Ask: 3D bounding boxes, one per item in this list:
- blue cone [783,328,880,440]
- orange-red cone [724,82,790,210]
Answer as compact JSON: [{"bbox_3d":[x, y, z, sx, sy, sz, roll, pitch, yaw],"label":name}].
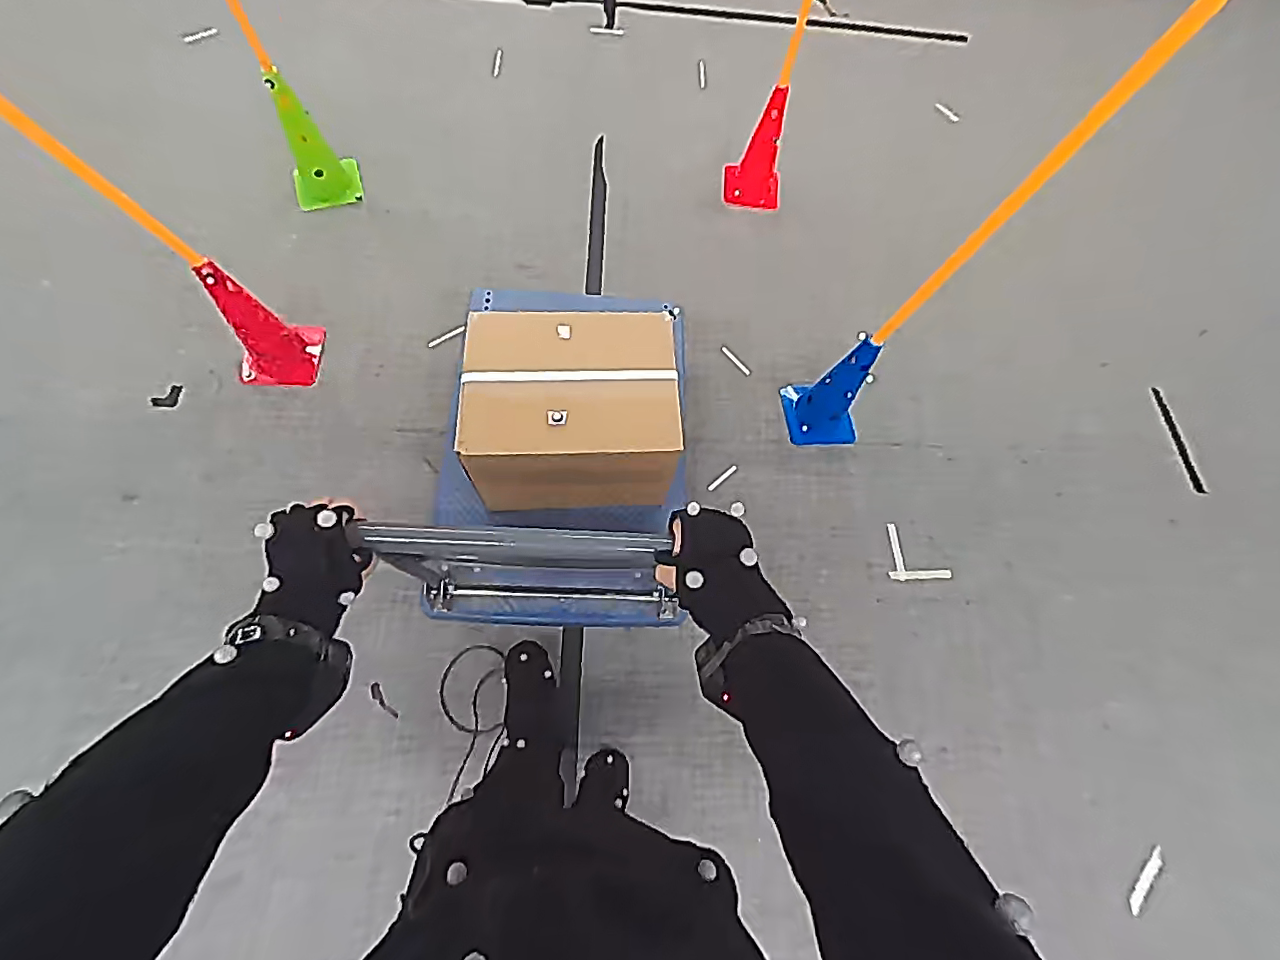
[{"bbox_3d":[0.546,-0.268,1.461,0.193,0.380,0.192,-2,67,-6],"label":"blue cone"},{"bbox_3d":[0.419,-1.113,1.776,0.199,0.360,0.198,8,68,-3],"label":"orange-red cone"}]
